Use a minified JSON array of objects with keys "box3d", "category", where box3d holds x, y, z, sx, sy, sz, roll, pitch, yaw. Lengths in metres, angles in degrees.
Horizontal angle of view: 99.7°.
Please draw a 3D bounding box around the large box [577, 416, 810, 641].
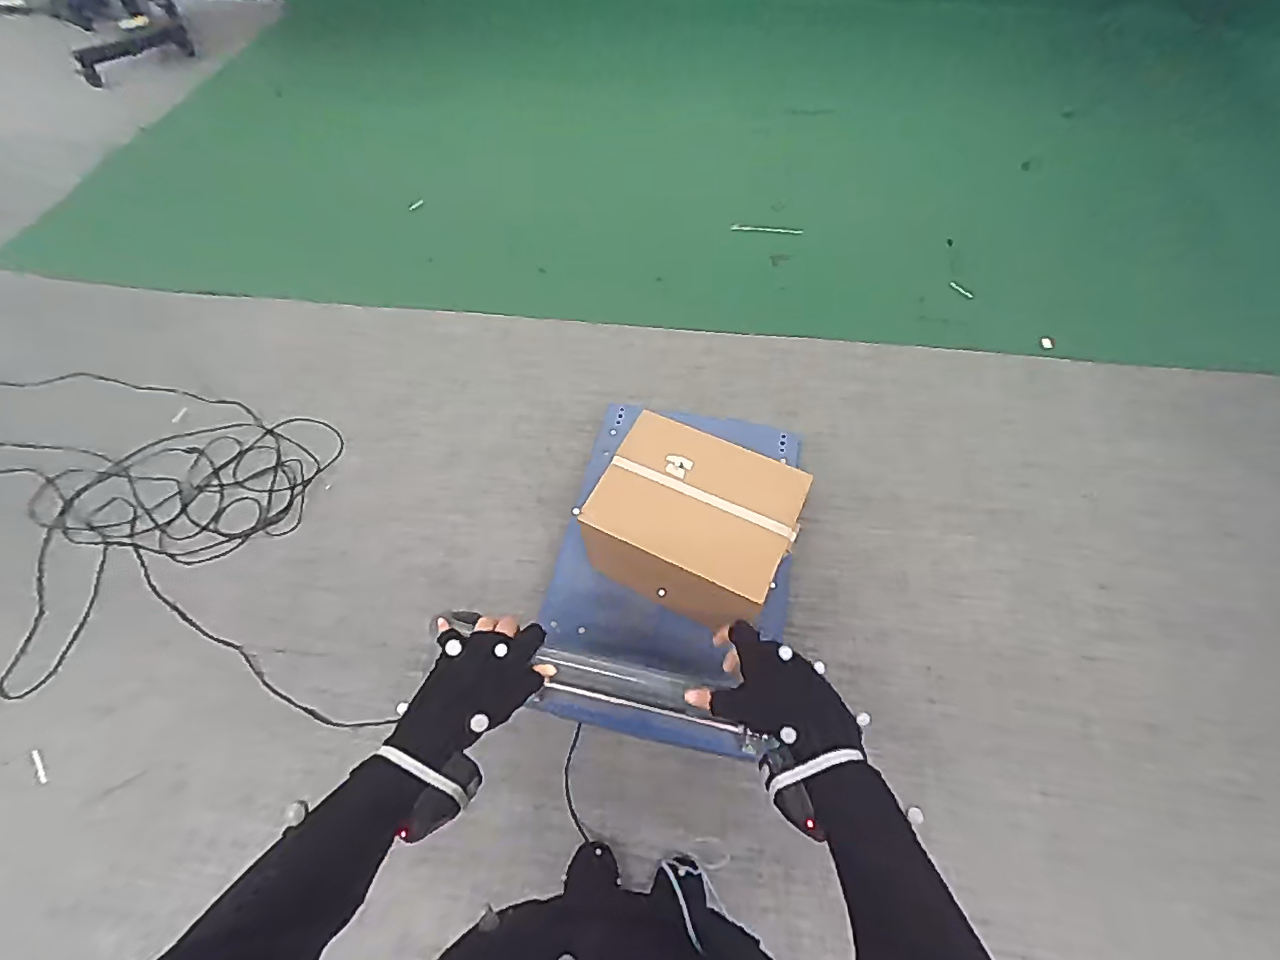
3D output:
[{"box3d":[0.122,0.118,1.245,0.408,0.320,0.320,24,63,15],"category":"large box"}]
